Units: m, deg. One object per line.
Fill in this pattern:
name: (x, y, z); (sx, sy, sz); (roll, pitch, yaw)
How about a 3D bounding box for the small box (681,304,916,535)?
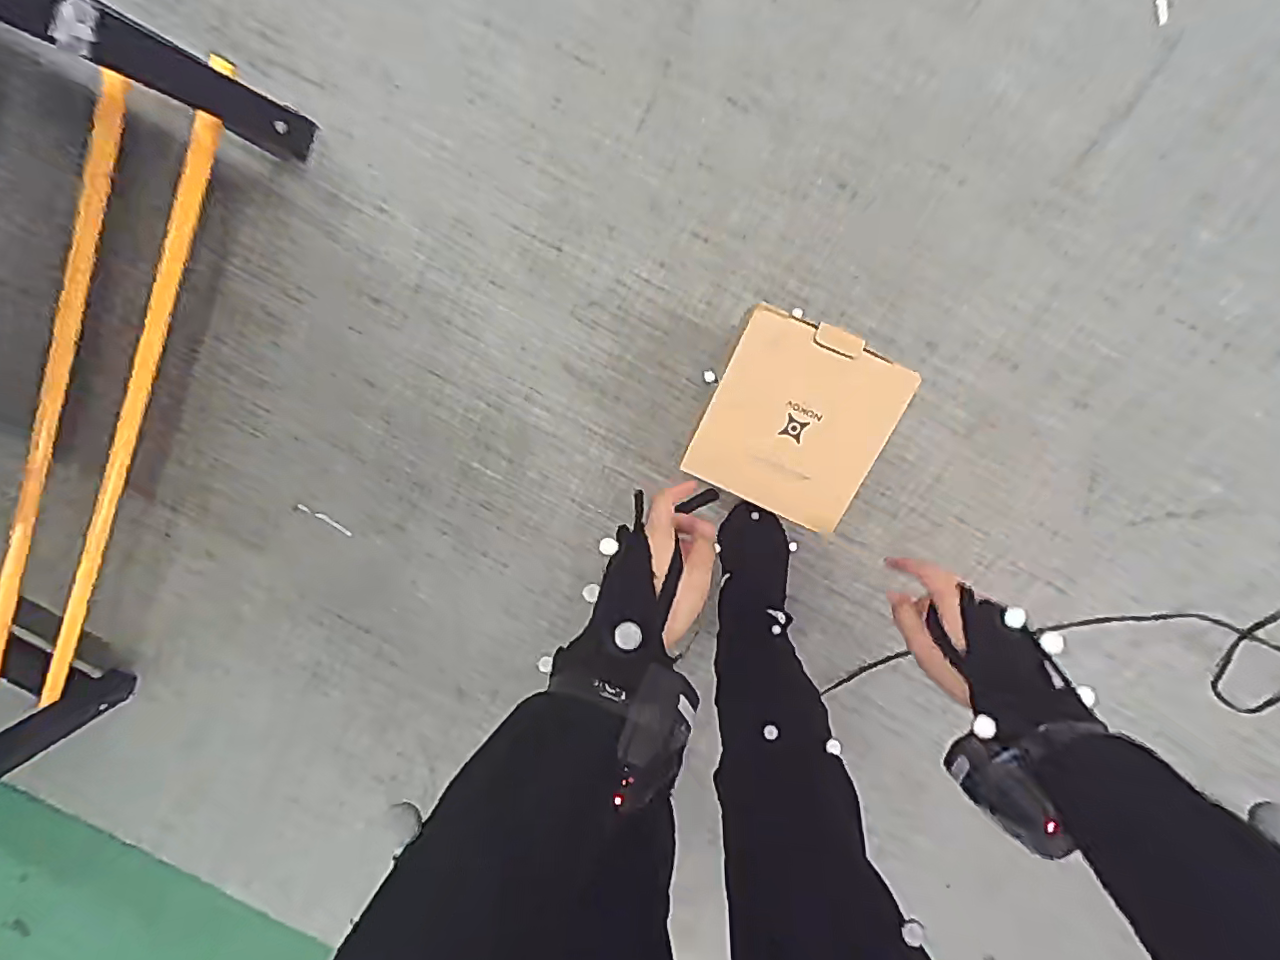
small box: (0.155, -0.073, 0.594); (0.168, 0.176, 0.179); (25, 107, 0)
